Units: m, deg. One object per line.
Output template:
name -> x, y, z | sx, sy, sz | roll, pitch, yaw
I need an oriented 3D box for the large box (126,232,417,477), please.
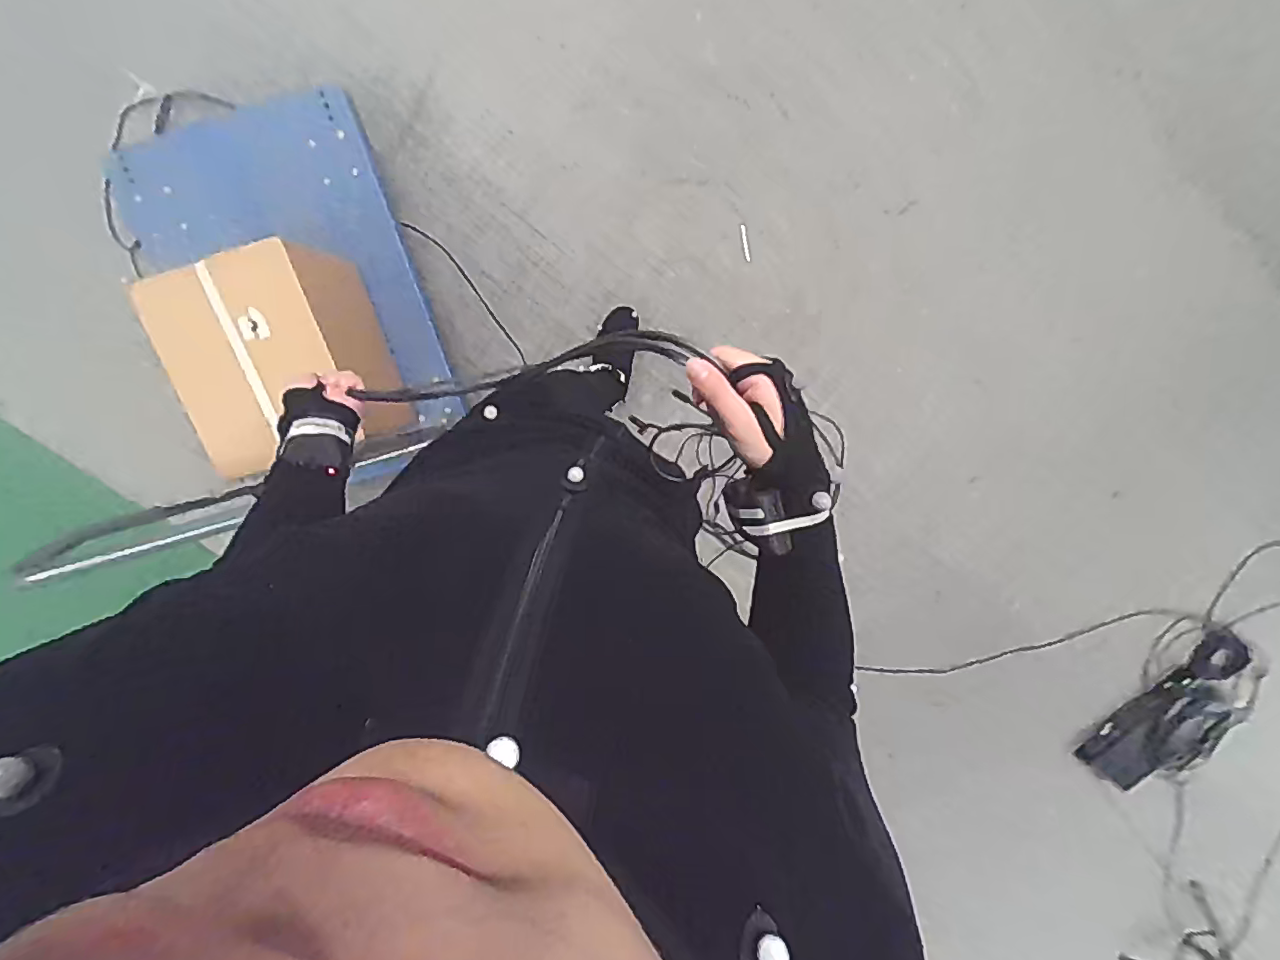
large box -> -0.759, -0.263, 1.189 | 0.320, 0.320, 0.408 | -17, 103, 1
